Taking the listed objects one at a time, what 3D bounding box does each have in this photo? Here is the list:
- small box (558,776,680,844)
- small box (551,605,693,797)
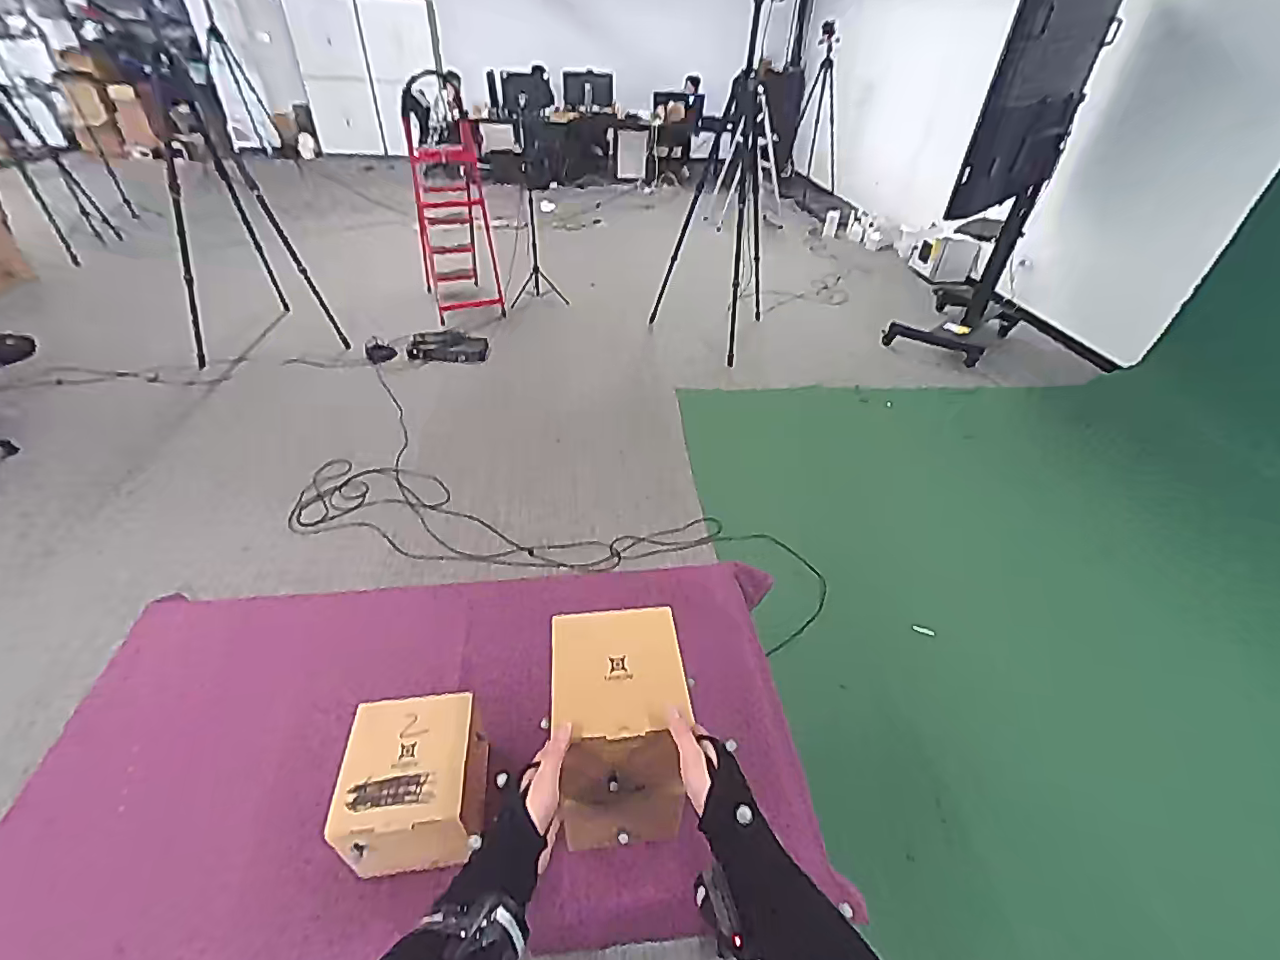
[{"bbox_3d":[-0.039,0.421,0.827,0.168,0.176,0.179,-3,40,-7],"label":"small box"},{"bbox_3d":[-0.033,0.293,0.727,0.168,0.176,0.179,-3,40,-7],"label":"small box"}]
